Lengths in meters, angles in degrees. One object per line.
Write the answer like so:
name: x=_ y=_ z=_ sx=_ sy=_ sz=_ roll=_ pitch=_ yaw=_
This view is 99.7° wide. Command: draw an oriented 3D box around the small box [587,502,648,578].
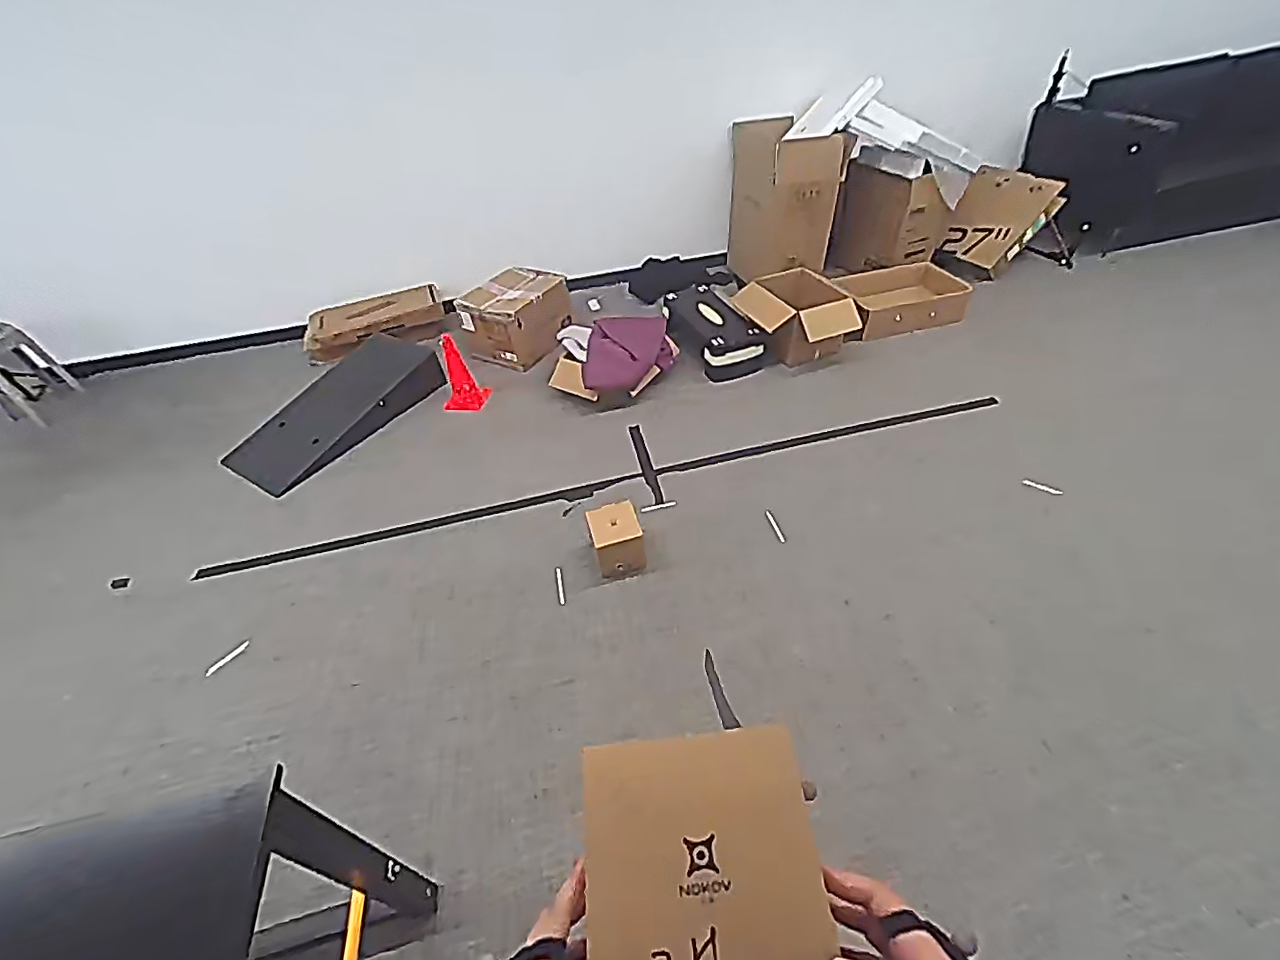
small box: x=-0.078 y=0.209 z=1.882 sx=0.168 sy=0.176 sz=0.179 roll=-16 pitch=45 yaw=-8
